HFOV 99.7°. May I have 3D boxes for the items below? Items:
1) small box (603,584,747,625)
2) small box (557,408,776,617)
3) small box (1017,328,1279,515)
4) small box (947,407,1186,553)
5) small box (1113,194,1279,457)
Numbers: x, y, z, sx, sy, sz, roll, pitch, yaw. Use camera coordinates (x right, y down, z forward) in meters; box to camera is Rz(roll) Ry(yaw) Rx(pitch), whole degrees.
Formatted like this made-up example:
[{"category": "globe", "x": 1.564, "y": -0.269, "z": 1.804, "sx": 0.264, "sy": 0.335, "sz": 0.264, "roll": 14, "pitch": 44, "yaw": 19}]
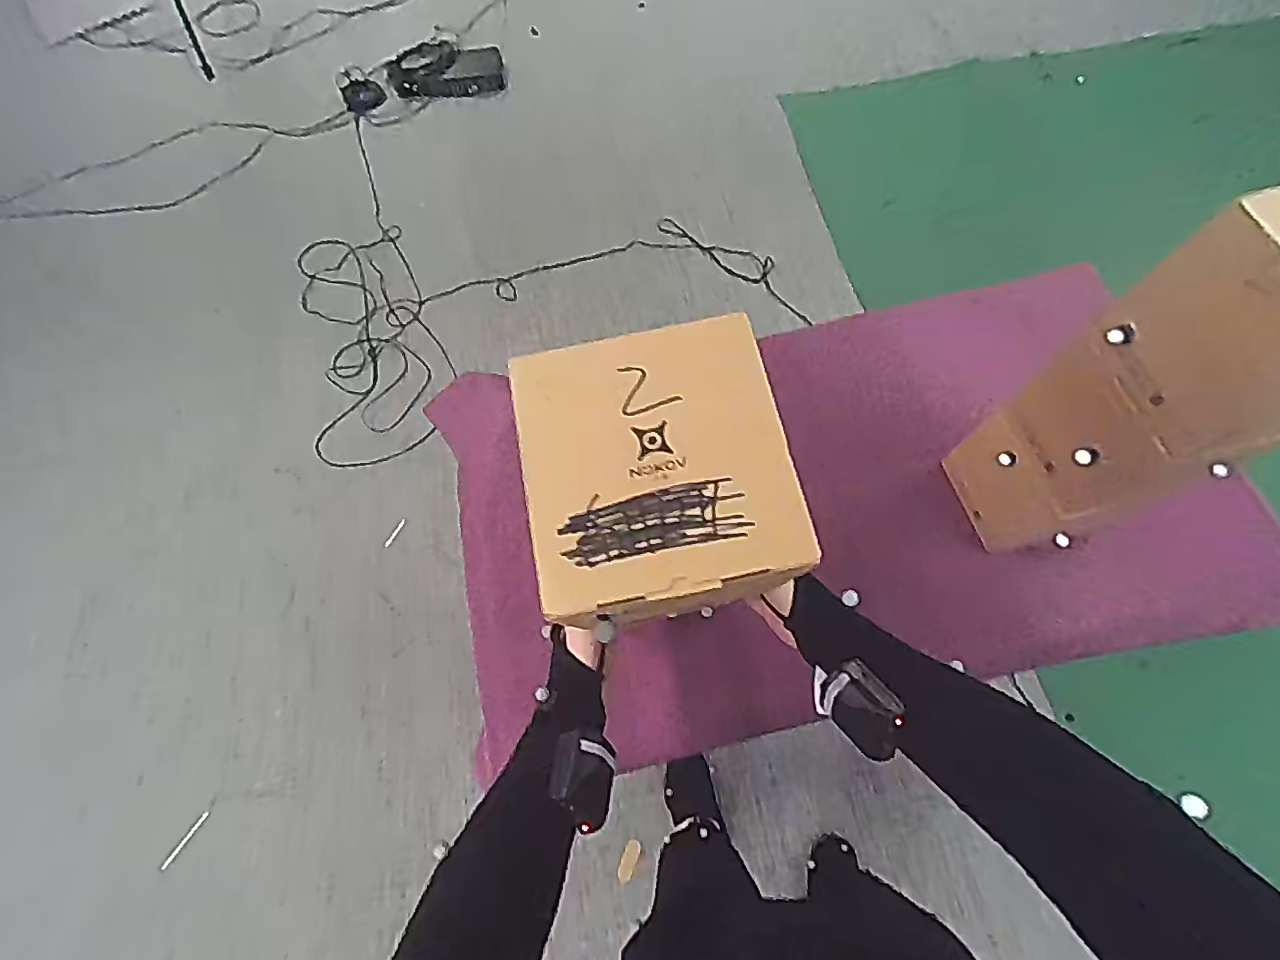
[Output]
[{"category": "small box", "x": 0.028, "y": 0.094, "z": 0.730, "sx": 0.179, "sy": 0.176, "sz": 0.168, "roll": -13, "pitch": 72, "yaw": -1}, {"category": "small box", "x": 0.023, "y": 0.045, "z": 0.576, "sx": 0.179, "sy": 0.176, "sz": 0.168, "roll": -13, "pitch": 73, "yaw": -1}, {"category": "small box", "x": 0.586, "y": -0.071, "z": 0.630, "sx": 0.179, "sy": 0.176, "sz": 0.168, "roll": -12, "pitch": 68, "yaw": -2}, {"category": "small box", "x": 0.592, "y": -0.007, "z": 0.780, "sx": 0.179, "sy": 0.176, "sz": 0.168, "roll": -13, "pitch": 67, "yaw": -3}, {"category": "small box", "x": 0.582, "y": -0.136, "z": 0.479, "sx": 0.179, "sy": 0.176, "sz": 0.168, "roll": -13, "pitch": 69, "yaw": -3}]
